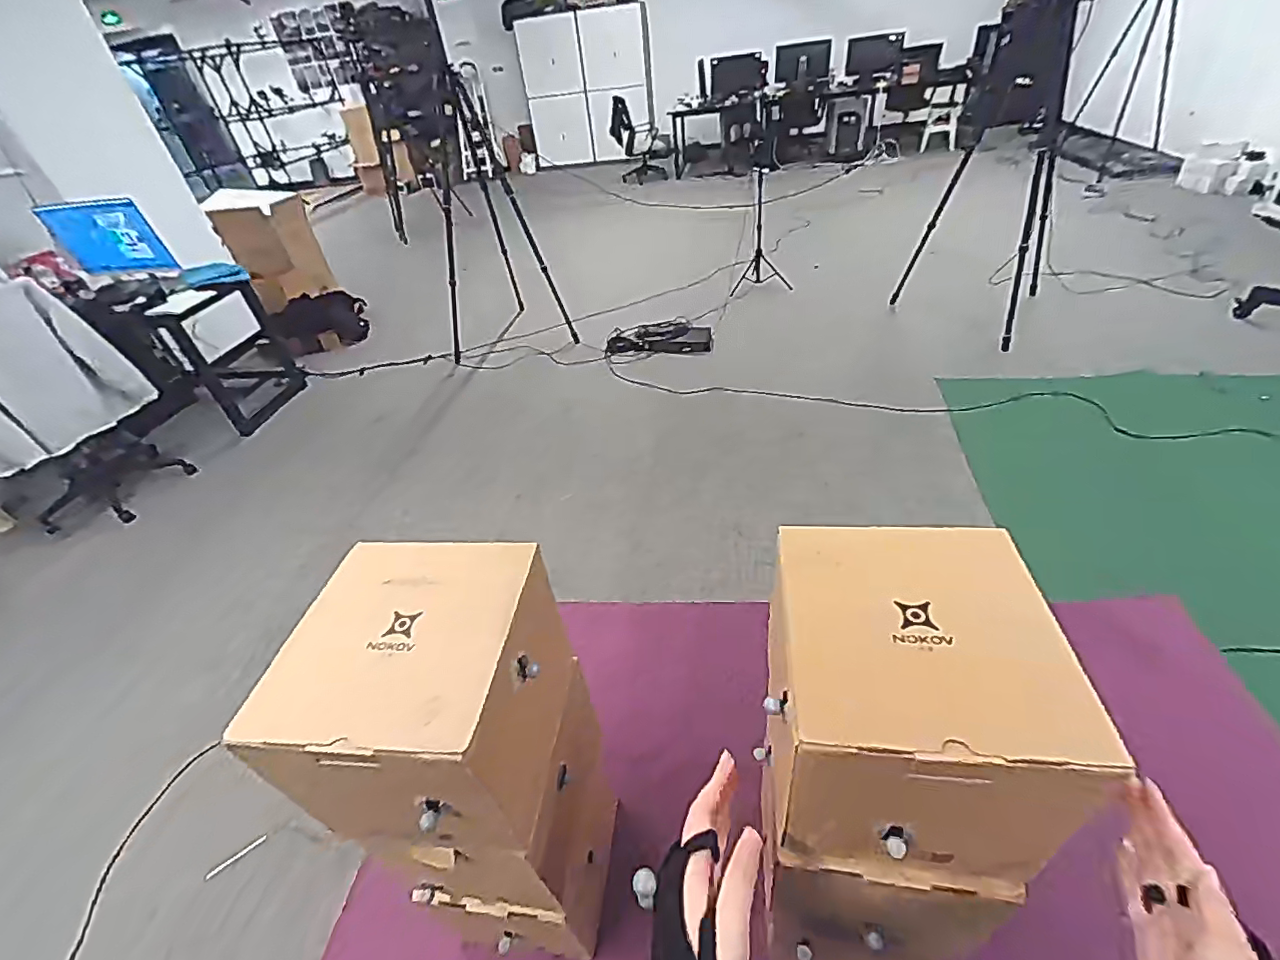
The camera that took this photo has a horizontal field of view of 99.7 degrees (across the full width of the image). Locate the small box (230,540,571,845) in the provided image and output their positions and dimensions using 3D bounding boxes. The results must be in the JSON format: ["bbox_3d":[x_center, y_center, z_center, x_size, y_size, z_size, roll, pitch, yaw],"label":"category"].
[{"bbox_3d":[-0.162,0.169,0.441,0.168,0.176,0.179,1,40,9],"label":"small box"}]

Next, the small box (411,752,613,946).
[{"bbox_3d":[-0.133,0.423,0.646,0.168,0.176,0.179,2,41,10],"label":"small box"}]

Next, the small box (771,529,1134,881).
[{"bbox_3d":[0.188,0.157,0.398,0.168,0.176,0.179,1,40,10],"label":"small box"}]

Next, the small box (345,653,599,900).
[{"bbox_3d":[-0.145,0.291,0.547,0.168,0.176,0.179,1,39,11],"label":"small box"}]
